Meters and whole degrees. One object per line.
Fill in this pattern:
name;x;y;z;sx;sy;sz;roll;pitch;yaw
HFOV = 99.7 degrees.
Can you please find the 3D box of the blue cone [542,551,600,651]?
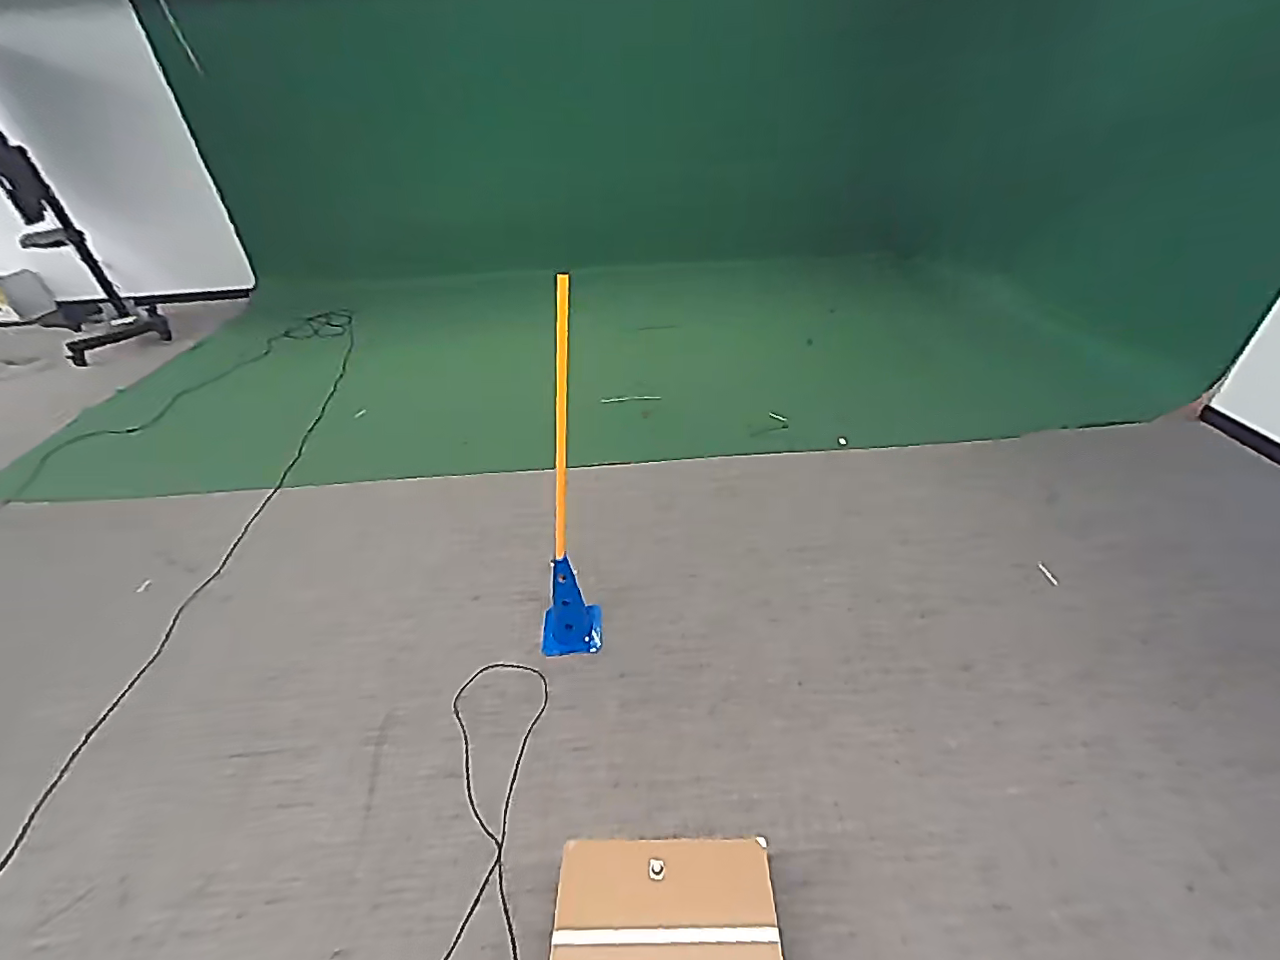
blue cone;-0.239;0.370;1.759;0.193;0.380;0.192;-4;37;-5
